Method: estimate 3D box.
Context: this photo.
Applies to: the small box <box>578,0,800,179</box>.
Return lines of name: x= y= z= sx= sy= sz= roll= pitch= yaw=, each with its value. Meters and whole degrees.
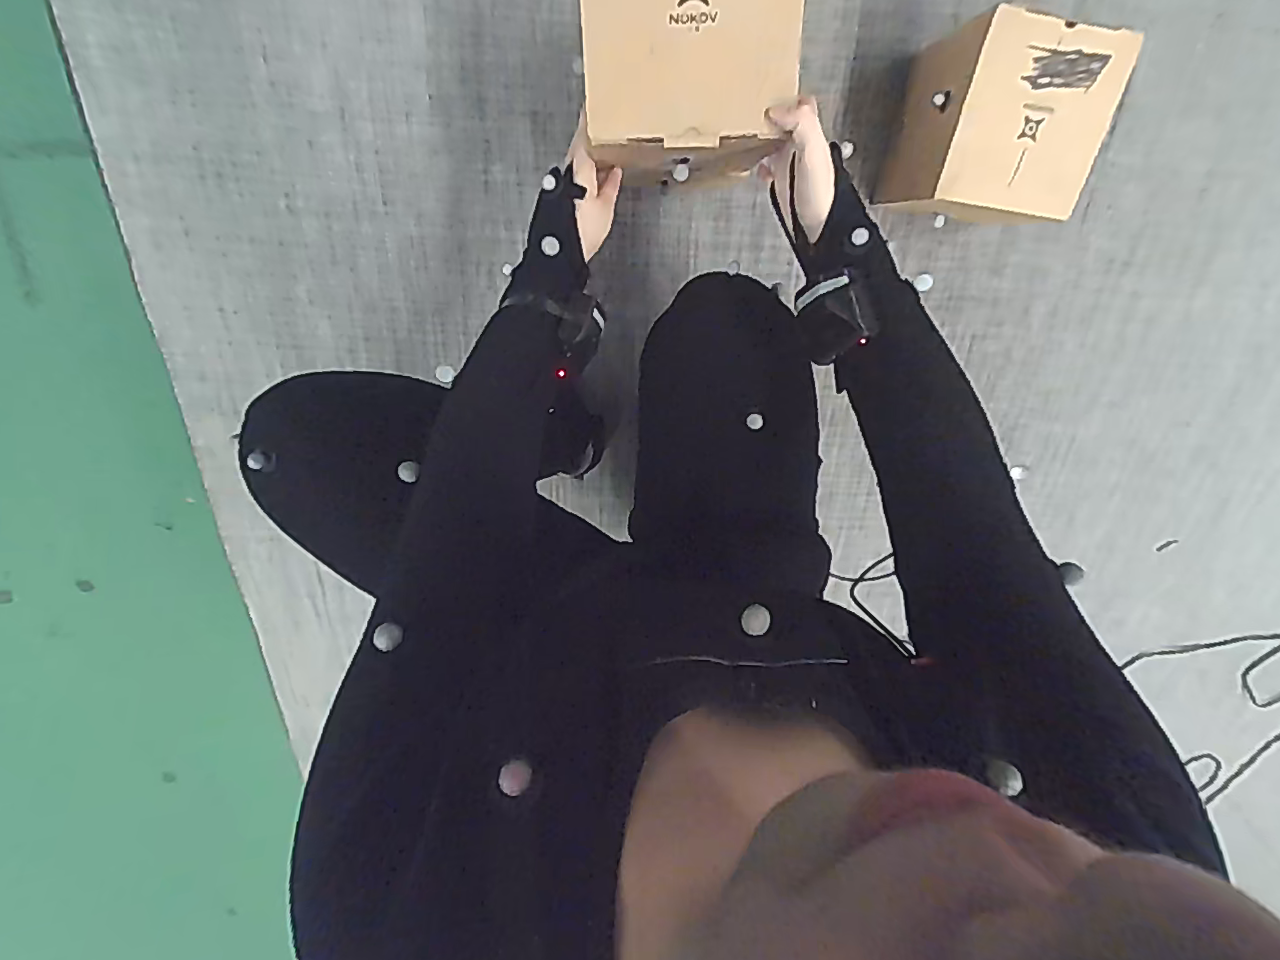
small box: x=0.035 y=-0.370 z=0.475 sx=0.168 sy=0.176 sz=0.179 roll=-2 pitch=113 yaw=-1

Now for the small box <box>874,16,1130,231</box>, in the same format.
small box: x=0.412 y=-0.410 z=0.656 sx=0.168 sy=0.176 sz=0.179 roll=7 pitch=113 yaw=-5
